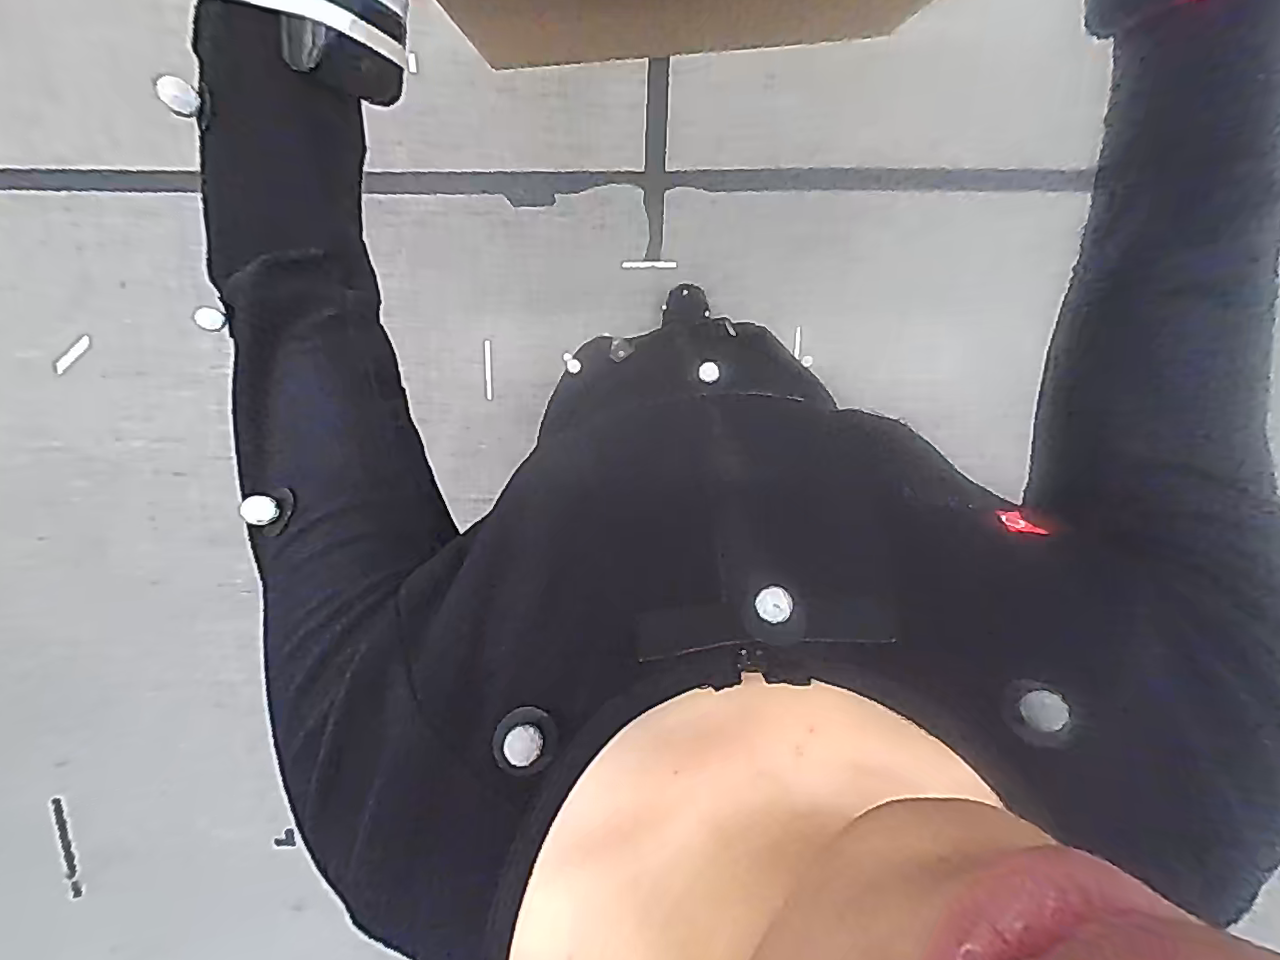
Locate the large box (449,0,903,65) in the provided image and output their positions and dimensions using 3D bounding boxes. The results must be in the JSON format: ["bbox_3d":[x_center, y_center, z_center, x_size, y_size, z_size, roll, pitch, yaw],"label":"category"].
[{"bbox_3d":[0.036,-0.516,0.348,0.408,0.320,0.320,-5,115,1],"label":"large box"}]
